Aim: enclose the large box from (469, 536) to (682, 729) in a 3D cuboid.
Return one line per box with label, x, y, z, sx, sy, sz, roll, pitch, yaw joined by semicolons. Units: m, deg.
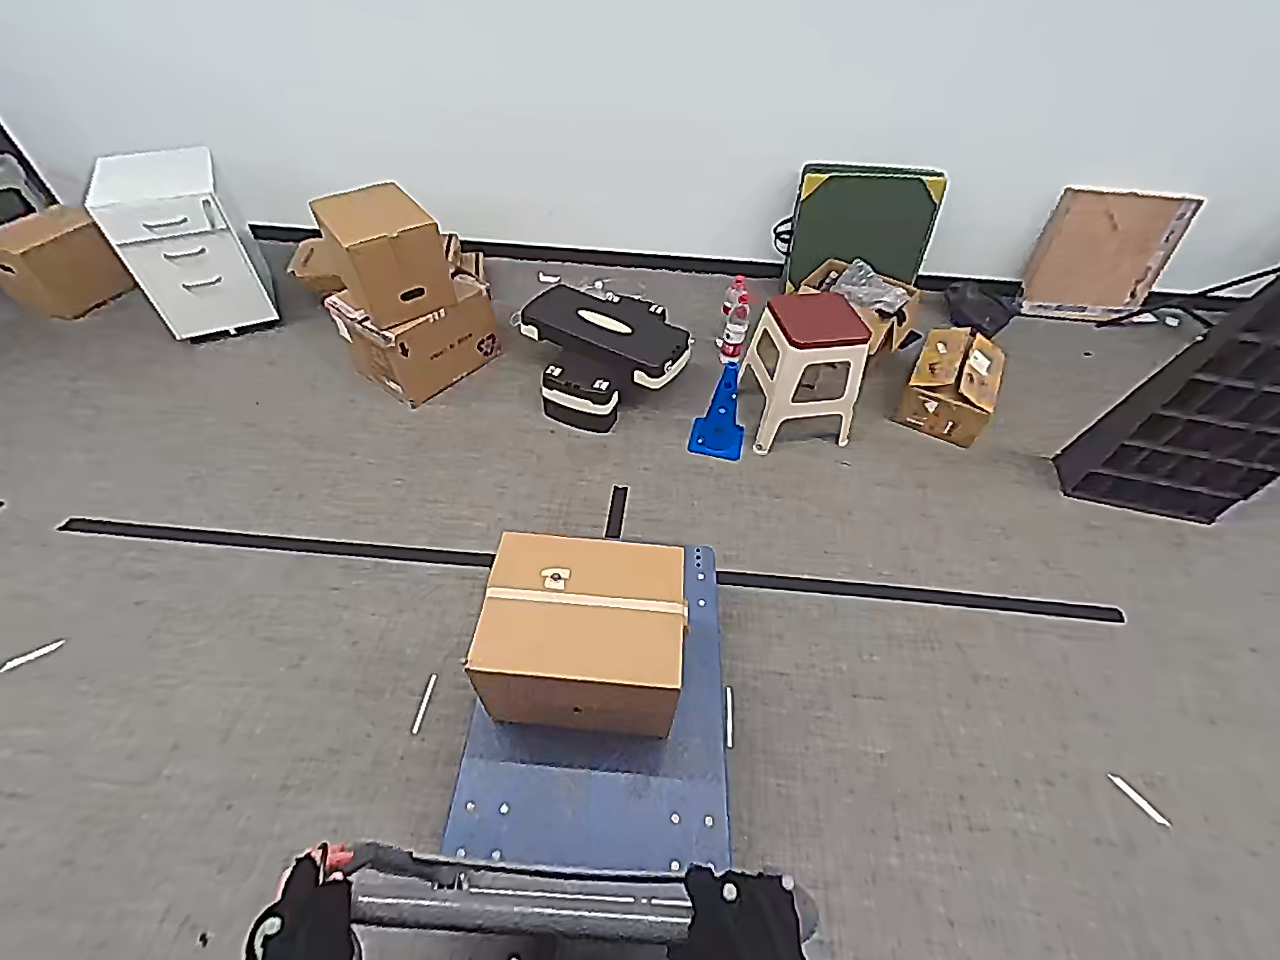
large box;-0.117;0.349;1.215;0.408;0.320;0.320;4;49;2
